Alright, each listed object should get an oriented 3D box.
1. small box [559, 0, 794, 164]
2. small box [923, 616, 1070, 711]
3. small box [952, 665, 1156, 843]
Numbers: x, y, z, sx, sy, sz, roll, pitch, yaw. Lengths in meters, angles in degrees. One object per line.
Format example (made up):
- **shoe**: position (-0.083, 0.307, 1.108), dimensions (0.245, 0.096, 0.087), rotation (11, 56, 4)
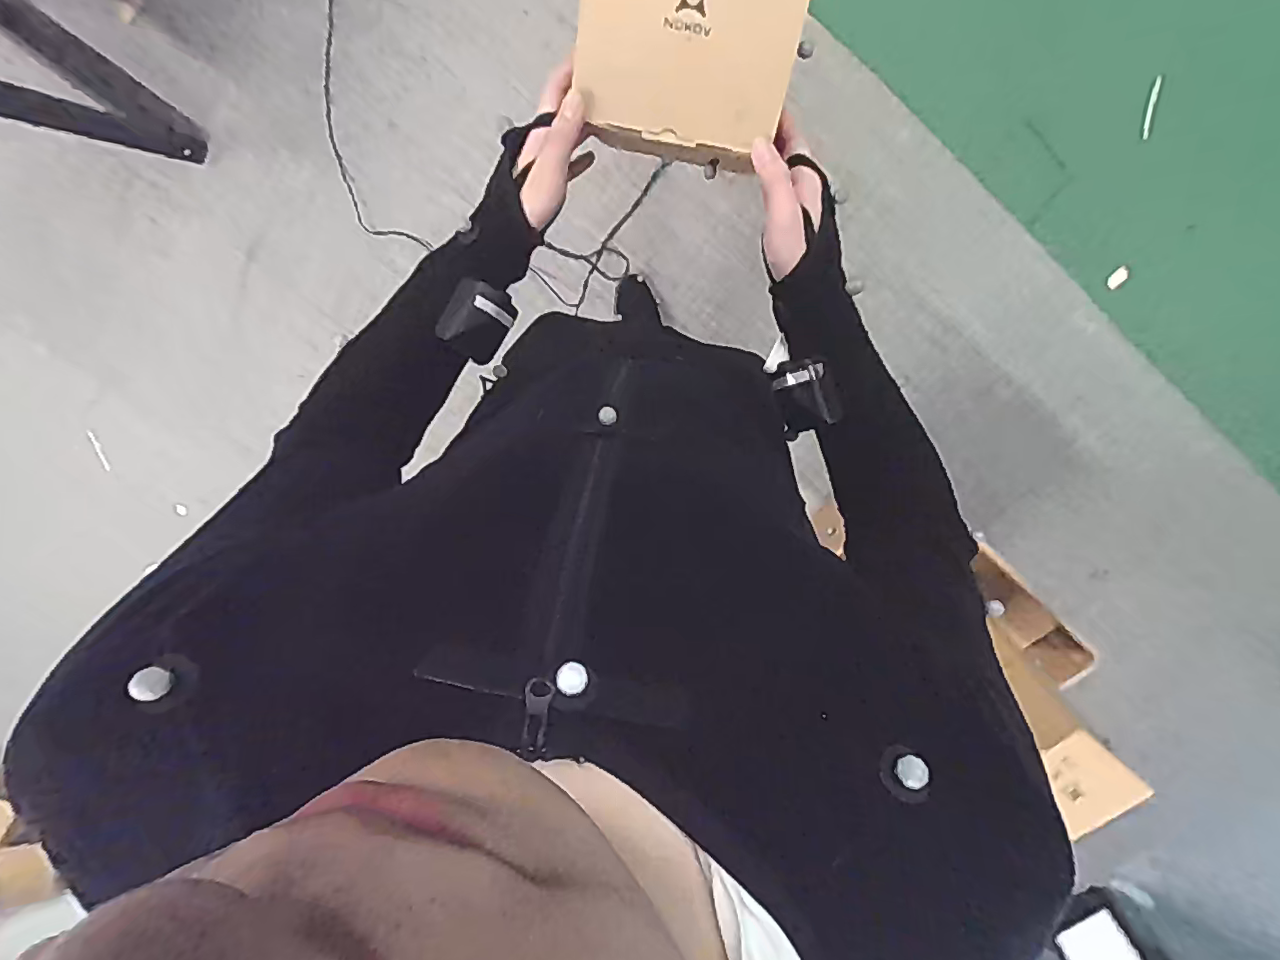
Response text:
- **small box**: position (0.040, -0.384, 0.459), dimensions (0.168, 0.176, 0.179), rotation (12, 117, 2)
- **small box**: position (0.705, 0.404, 1.065), dimensions (0.179, 0.176, 0.168), rotation (41, 109, -8)
- **small box**: position (0.677, 0.450, 0.908), dimensions (0.179, 0.176, 0.168), rotation (40, 108, -7)
